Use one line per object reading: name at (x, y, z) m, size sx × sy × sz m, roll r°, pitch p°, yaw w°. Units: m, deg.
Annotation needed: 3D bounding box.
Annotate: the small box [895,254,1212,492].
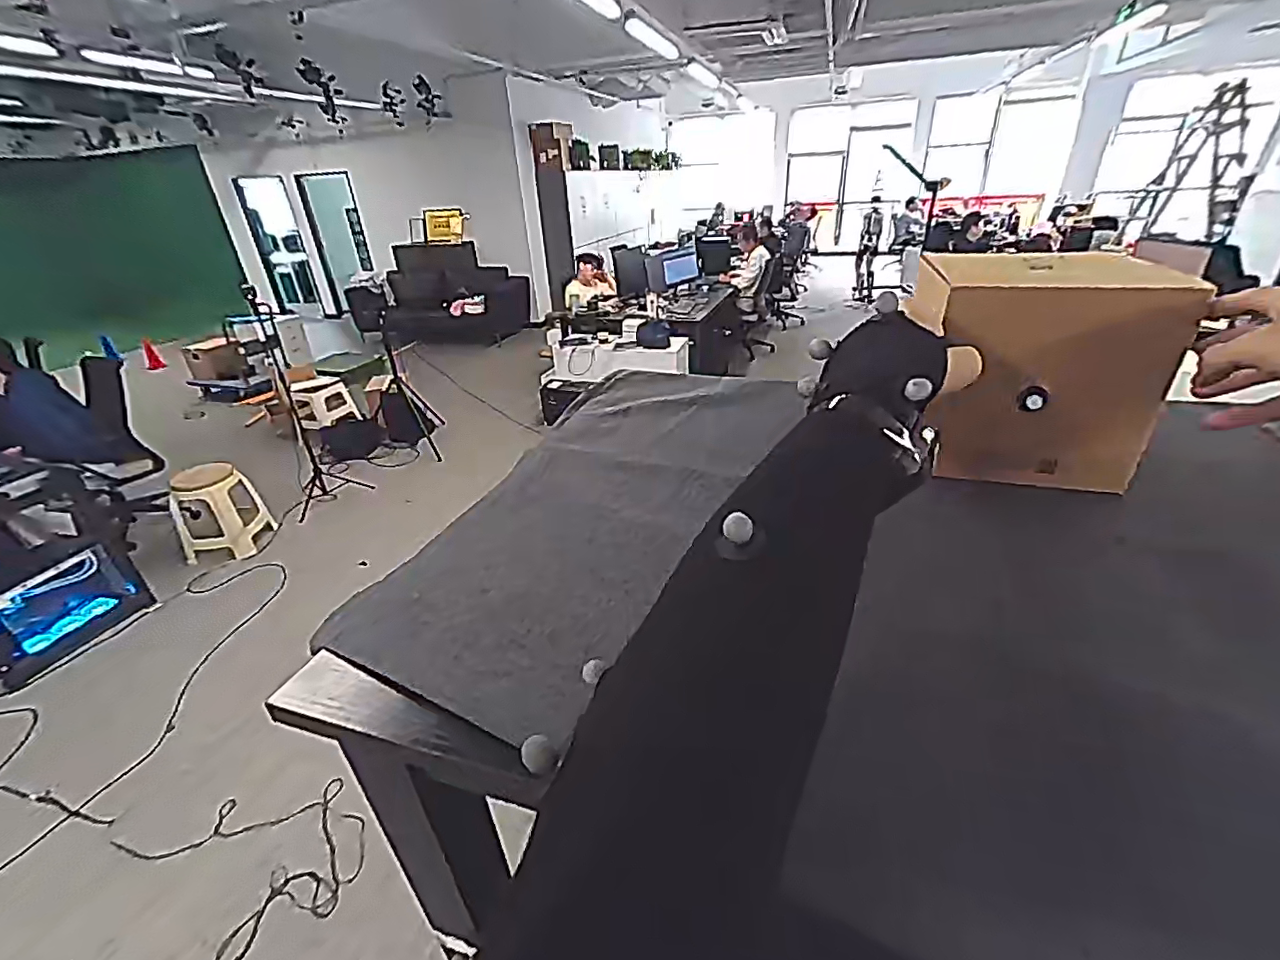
small box at (0.342, -0.104, 0.496) m, size 0.168 × 0.176 × 0.179 m, roll 7°, pitch 31°, yaw 16°
